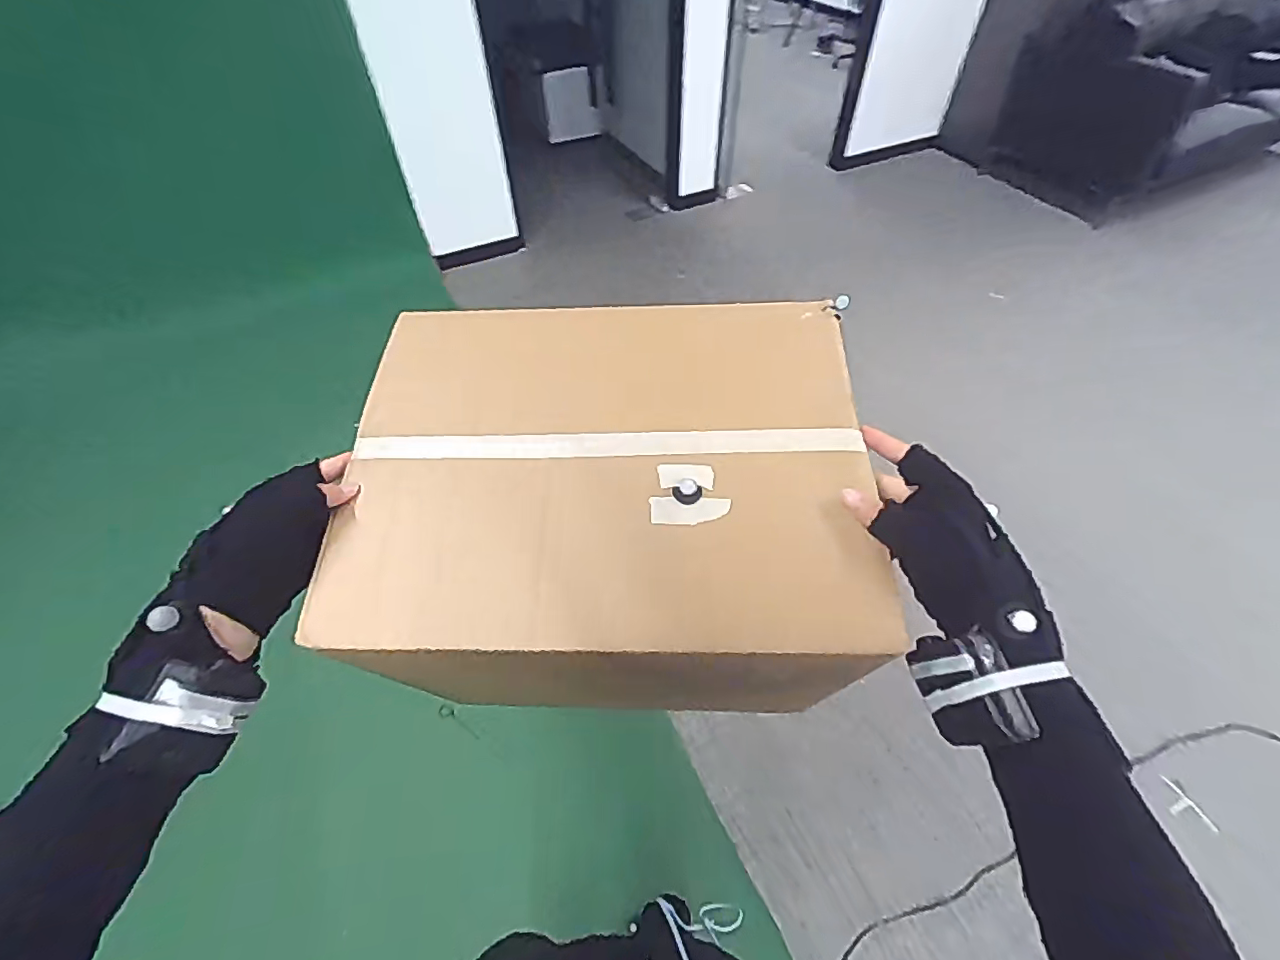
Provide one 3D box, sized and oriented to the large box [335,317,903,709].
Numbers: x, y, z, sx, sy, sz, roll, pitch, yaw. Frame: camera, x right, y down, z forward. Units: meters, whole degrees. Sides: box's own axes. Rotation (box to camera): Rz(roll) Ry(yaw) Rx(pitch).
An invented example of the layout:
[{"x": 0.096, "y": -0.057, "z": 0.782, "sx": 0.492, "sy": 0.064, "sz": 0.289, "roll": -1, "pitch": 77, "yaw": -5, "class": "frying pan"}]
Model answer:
[{"x": -0.010, "y": 0.057, "z": 0.573, "sx": 0.408, "sy": 0.320, "sz": 0.320, "roll": 0, "pitch": 61, "yaw": 4, "class": "large box"}]
